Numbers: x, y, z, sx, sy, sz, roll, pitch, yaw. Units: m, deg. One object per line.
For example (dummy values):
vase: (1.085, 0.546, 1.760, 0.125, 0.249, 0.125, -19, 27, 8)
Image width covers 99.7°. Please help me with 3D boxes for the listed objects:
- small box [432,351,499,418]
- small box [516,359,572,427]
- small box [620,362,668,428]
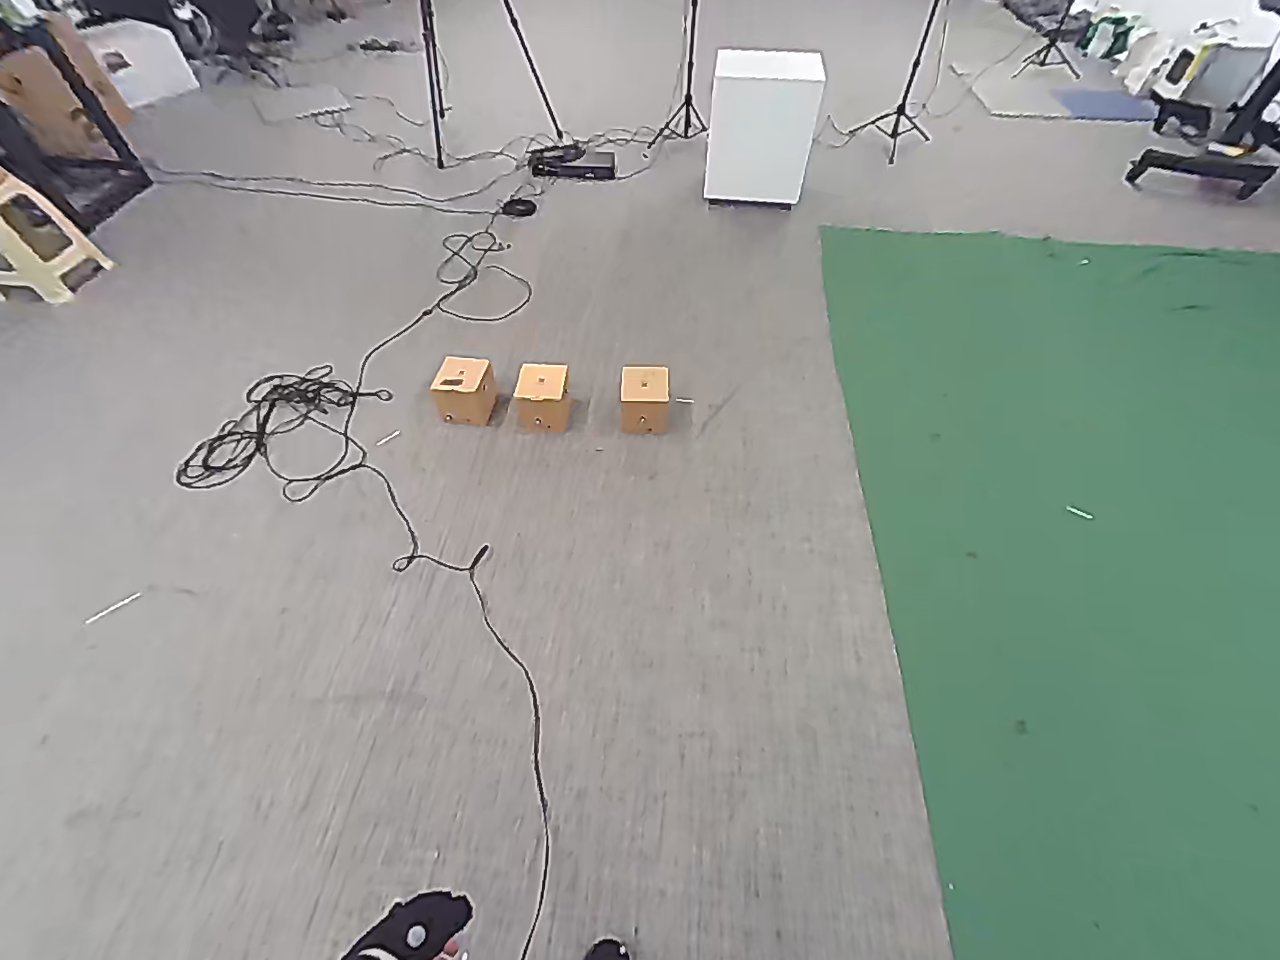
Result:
small box: (-0.631, -0.346, 1.980, 0.168, 0.176, 0.179, 7, 53, 5)
small box: (-0.342, -0.316, 1.962, 0.168, 0.176, 0.179, 2, 54, 2)
small box: (0.017, -0.304, 1.953, 0.168, 0.176, 0.179, 2, 54, 0)
